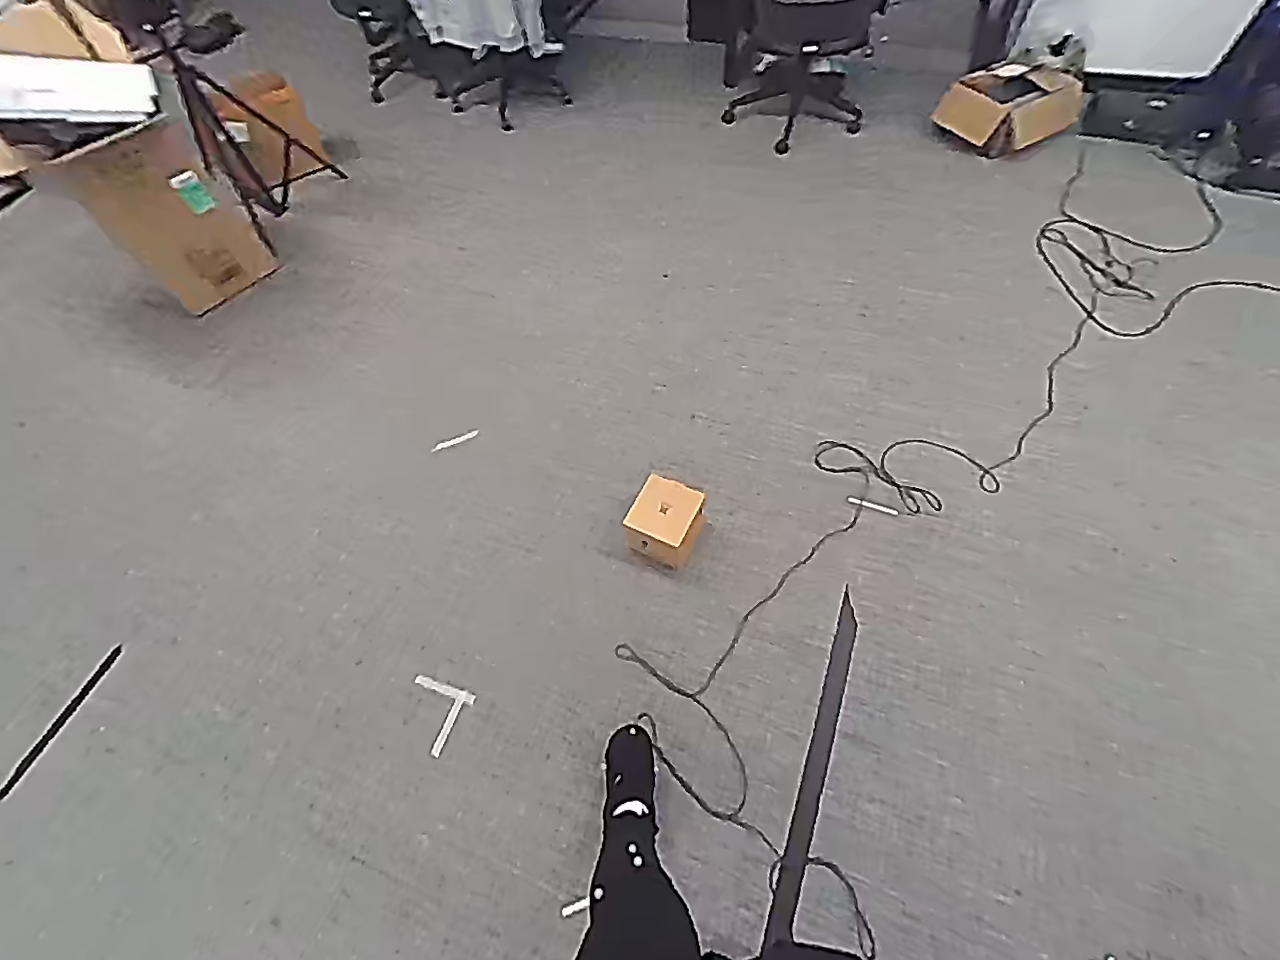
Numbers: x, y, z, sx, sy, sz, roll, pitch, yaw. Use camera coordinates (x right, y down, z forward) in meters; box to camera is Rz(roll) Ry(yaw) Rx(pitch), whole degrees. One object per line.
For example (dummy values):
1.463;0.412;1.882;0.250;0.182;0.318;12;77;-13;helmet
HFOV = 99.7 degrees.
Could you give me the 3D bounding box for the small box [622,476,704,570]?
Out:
0.071;0.125;1.501;0.168;0.176;0.179;22;64;18;small box
